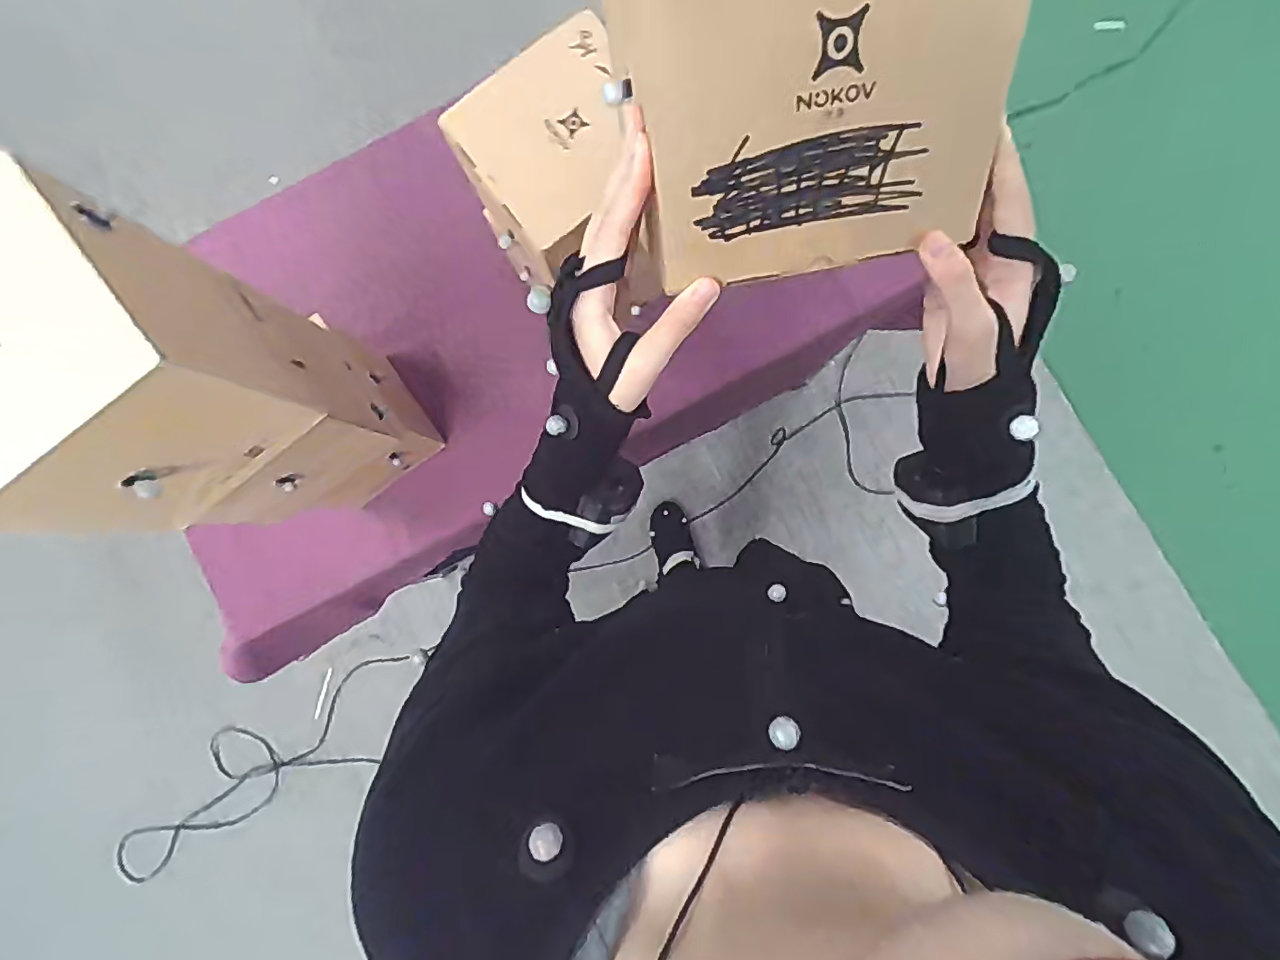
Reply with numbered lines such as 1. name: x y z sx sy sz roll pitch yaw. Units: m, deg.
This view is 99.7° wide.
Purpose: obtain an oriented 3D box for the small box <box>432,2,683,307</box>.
1. small box: -0.071 -0.314 0.563 0.179 0.176 0.168 -36 86 0

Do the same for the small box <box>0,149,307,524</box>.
1. small box: -0.400 -0.084 0.400 0.168 0.176 0.179 -39 85 -1

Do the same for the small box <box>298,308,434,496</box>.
1. small box: -0.413 -0.090 0.728 0.168 0.176 0.179 -35 85 -1

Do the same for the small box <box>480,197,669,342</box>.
1. small box: -0.078 -0.317 0.729 0.168 0.176 0.179 -41 86 -1

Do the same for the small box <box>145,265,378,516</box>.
1. small box: -0.408 -0.078 0.563 0.179 0.176 0.168 -35 85 -1
